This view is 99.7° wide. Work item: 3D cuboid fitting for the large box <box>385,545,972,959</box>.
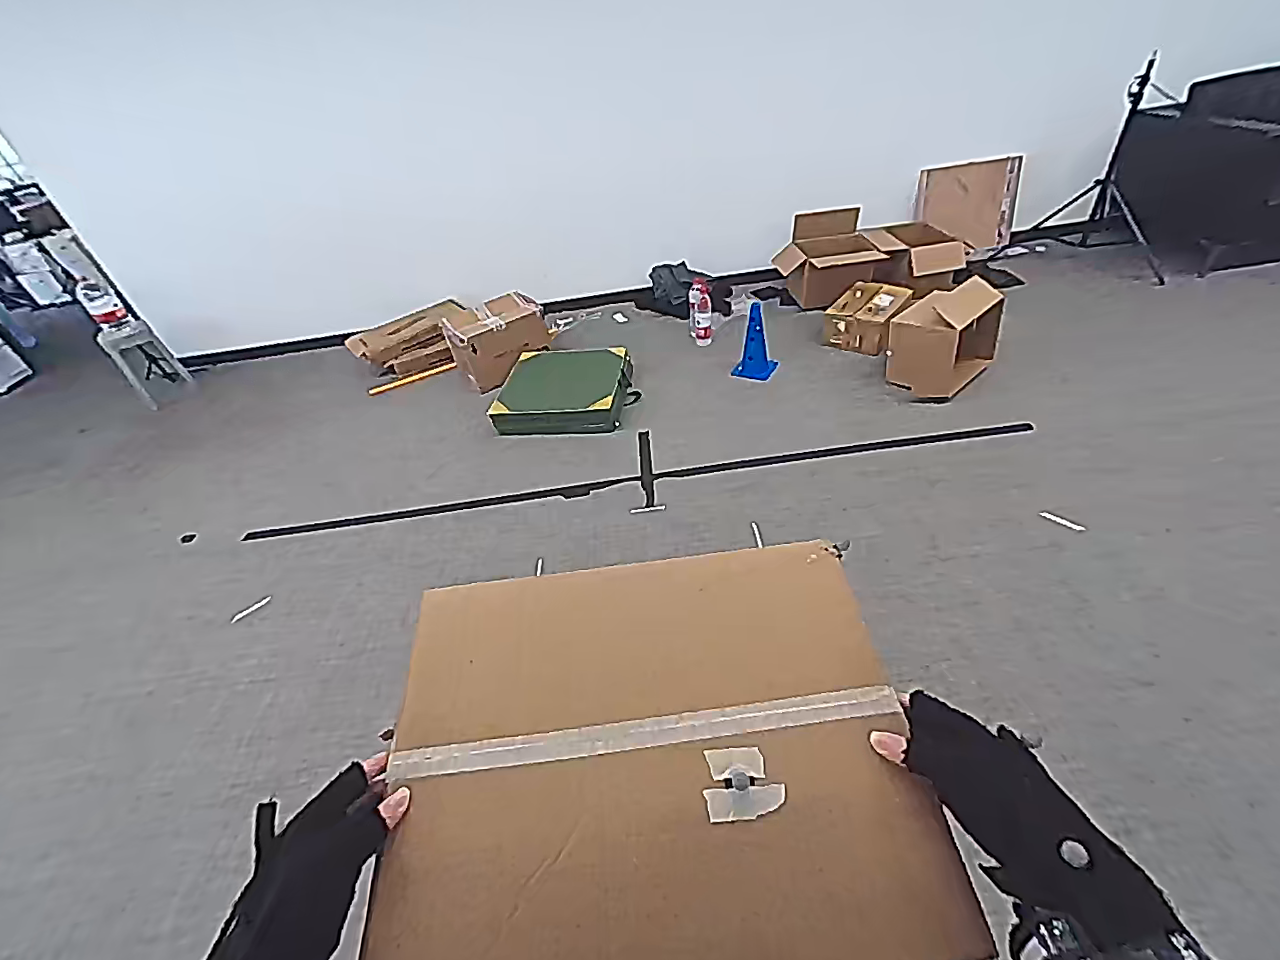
[{"bbox_3d":[0.019,0.303,0.560,0.408,0.320,0.320,-7,51,-1],"label":"large box"}]
